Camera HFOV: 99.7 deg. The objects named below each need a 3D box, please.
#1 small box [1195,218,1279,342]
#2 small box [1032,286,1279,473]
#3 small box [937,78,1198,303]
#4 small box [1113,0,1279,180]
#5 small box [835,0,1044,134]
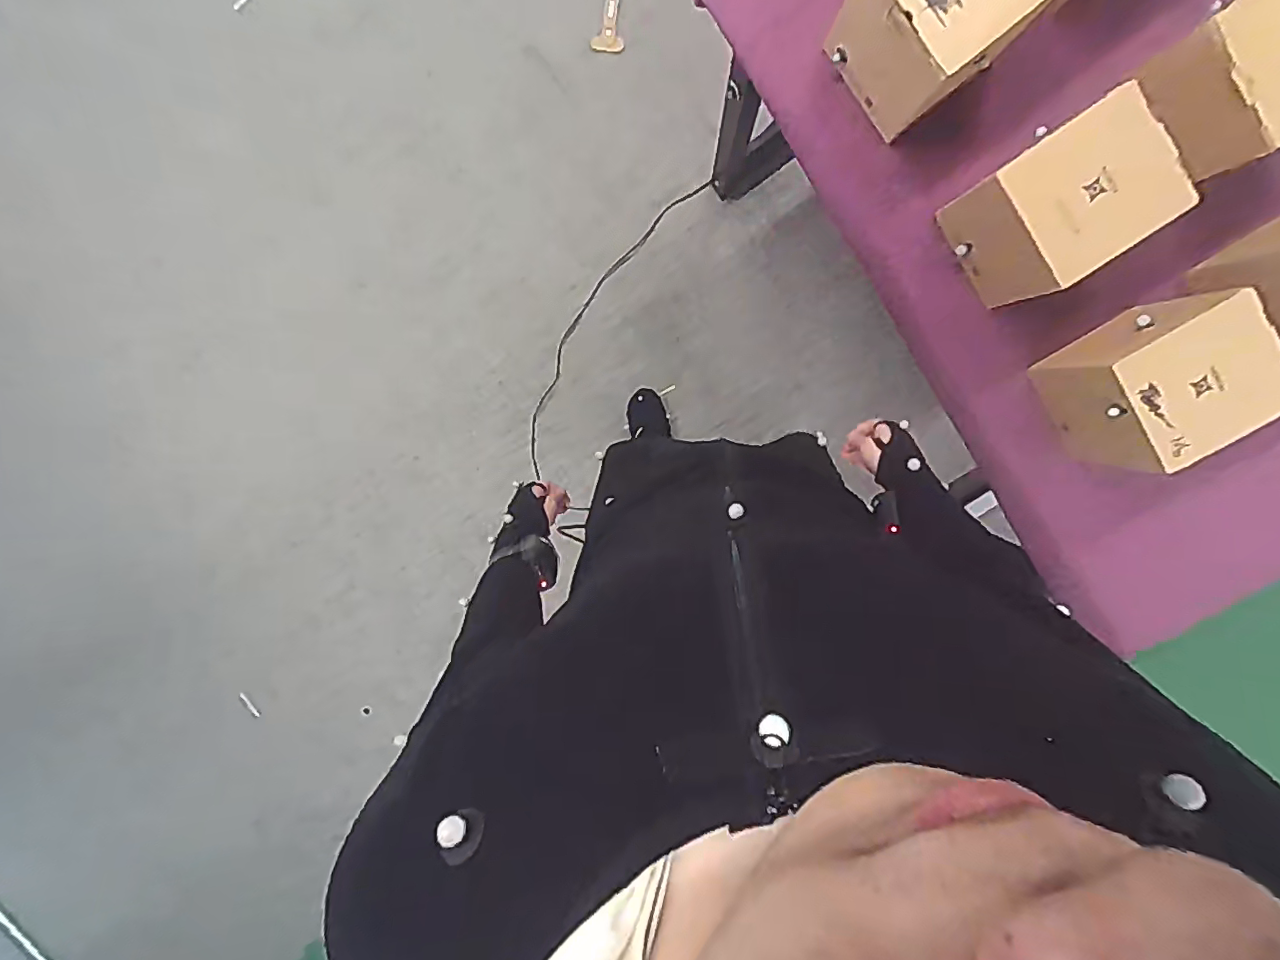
[{"bbox_3d":[0.901,-0.267,0.693,0.179,0.176,0.168,-32,95,10],"label":"small box"},{"bbox_3d":[0.696,-0.132,0.735,0.179,0.176,0.168,-32,95,9],"label":"small box"},{"bbox_3d":[0.539,-0.359,0.710,0.179,0.176,0.168,-33,95,10],"label":"small box"},{"bbox_3d":[0.750,-0.504,0.667,0.179,0.176,0.168,-34,96,11],"label":"small box"},{"bbox_3d":[0.369,-0.588,0.680,0.179,0.176,0.168,-37,95,8],"label":"small box"}]
